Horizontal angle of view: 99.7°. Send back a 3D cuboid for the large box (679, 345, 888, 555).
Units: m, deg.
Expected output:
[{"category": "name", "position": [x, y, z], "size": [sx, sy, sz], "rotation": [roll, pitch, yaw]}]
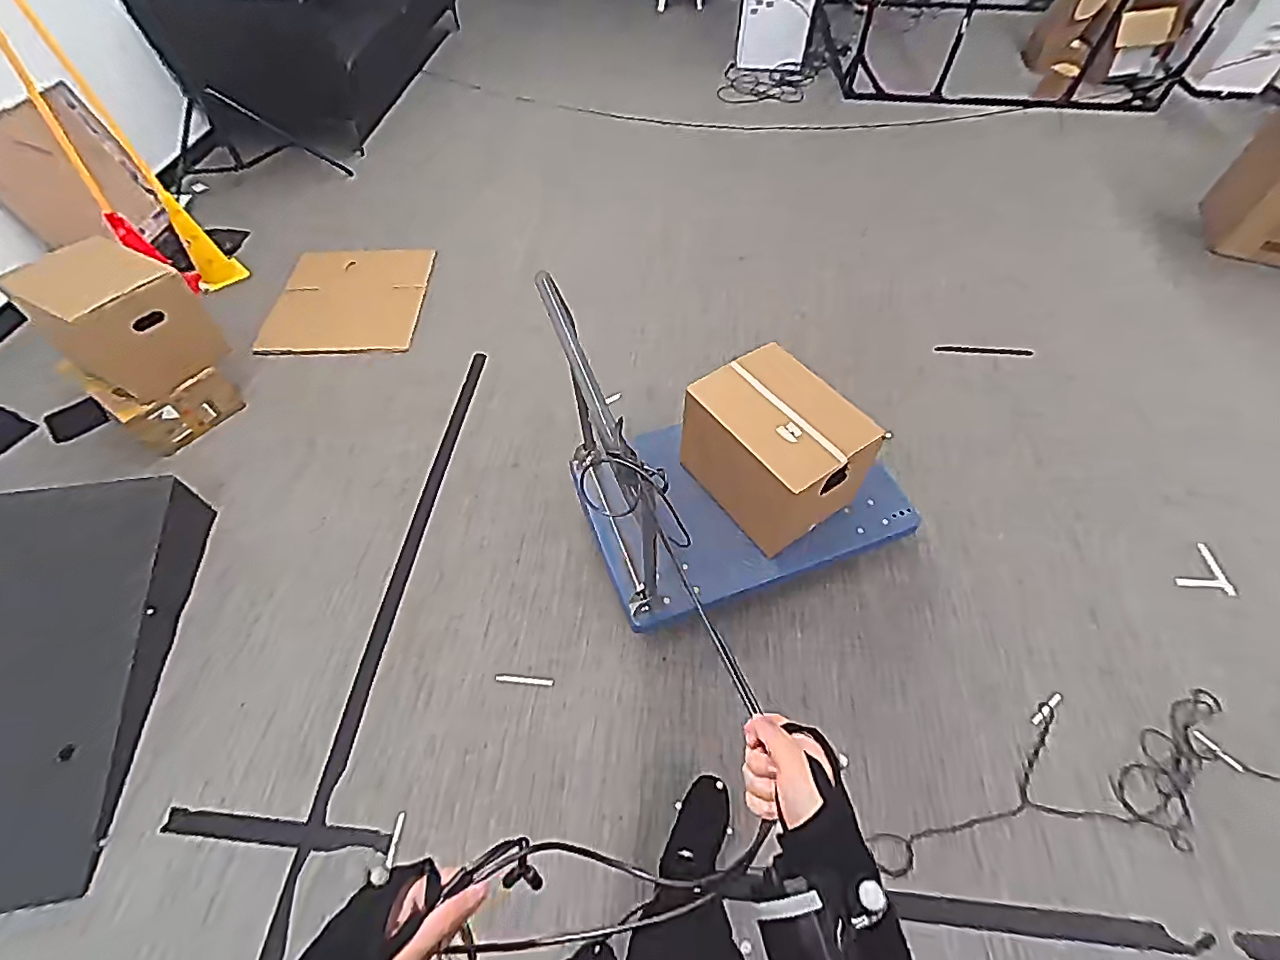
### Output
[{"category": "large box", "position": [0.353, -0.083, 1.451], "size": [0.320, 0.320, 0.408], "rotation": [-30, 61, -19]}]
